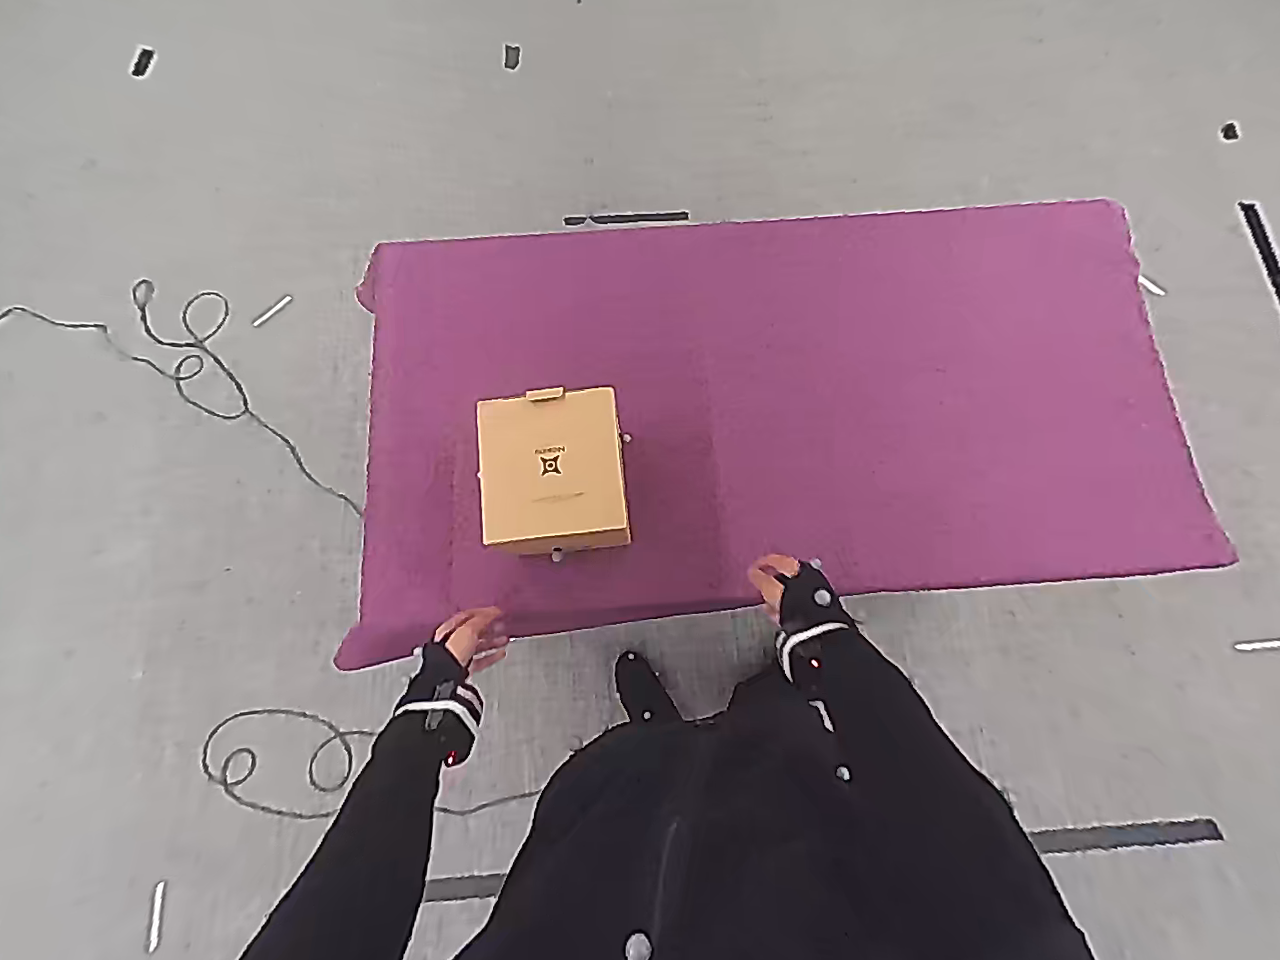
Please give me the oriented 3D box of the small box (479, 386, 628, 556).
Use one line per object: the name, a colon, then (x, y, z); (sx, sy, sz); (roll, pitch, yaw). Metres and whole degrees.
small box: (-0.104, -0.003, 0.700); (0.168, 0.176, 0.179); (-5, 77, -1)
